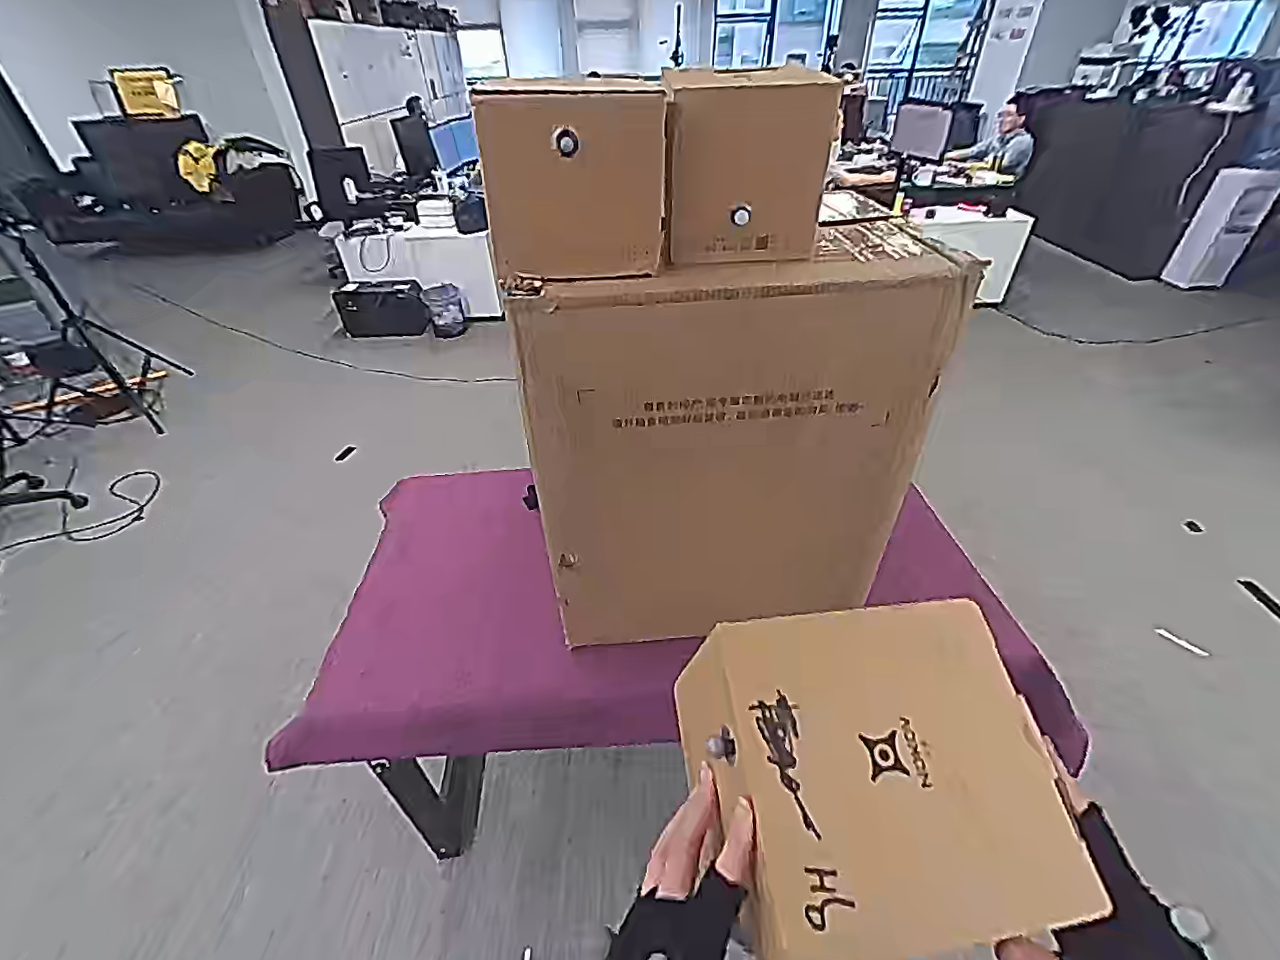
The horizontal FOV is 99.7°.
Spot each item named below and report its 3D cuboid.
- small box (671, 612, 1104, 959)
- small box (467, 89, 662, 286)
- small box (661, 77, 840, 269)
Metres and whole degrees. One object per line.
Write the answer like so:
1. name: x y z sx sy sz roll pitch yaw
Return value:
1. small box: 0.129 0.198 0.362 0.179 0.176 0.168 -2 58 -9
2. small box: -0.073 -0.318 0.587 0.179 0.176 0.168 -3 39 -6
3. small box: 0.110 -0.357 0.630 0.168 0.176 0.179 -3 41 0
